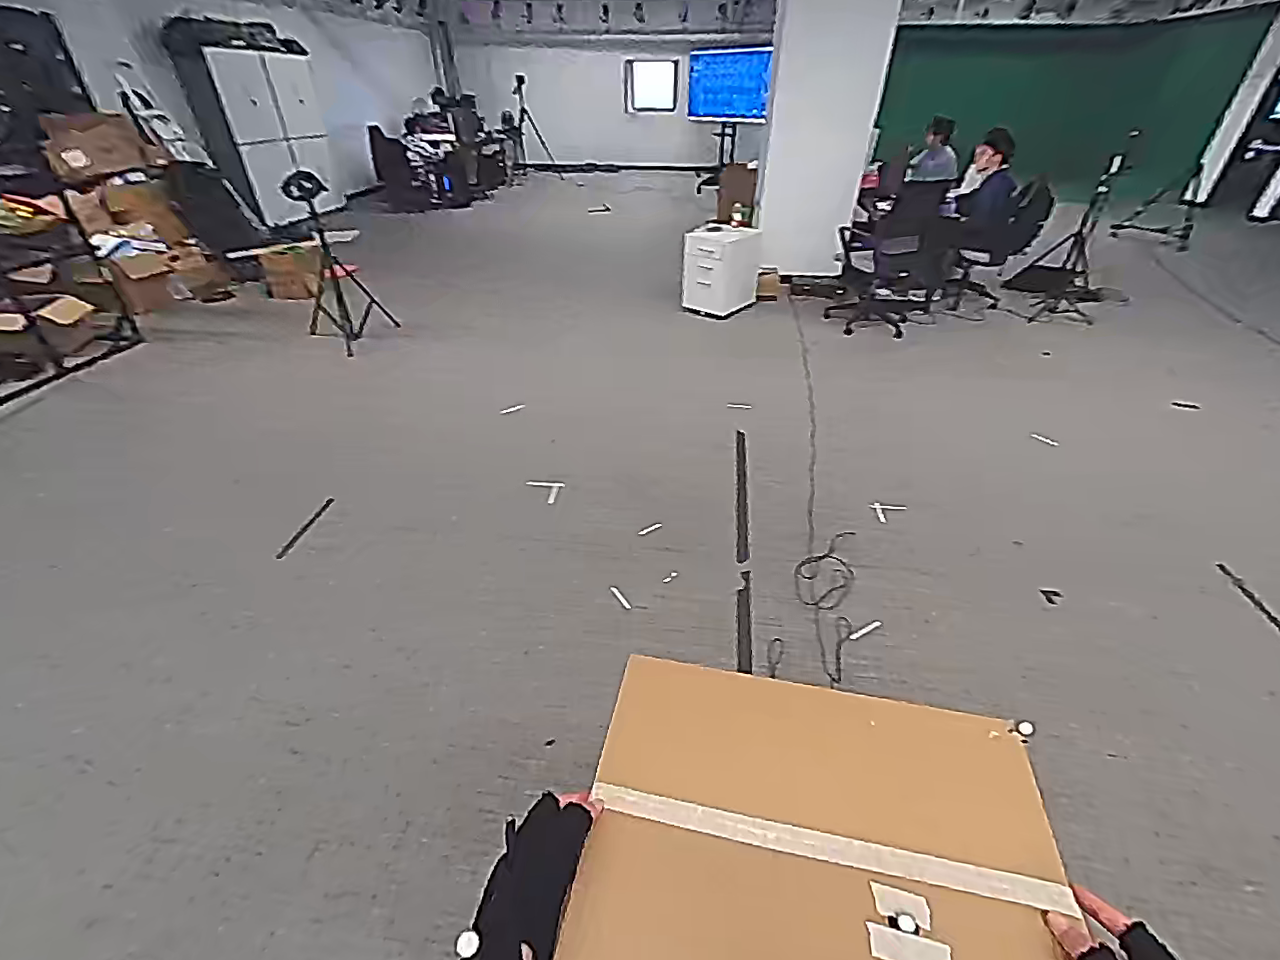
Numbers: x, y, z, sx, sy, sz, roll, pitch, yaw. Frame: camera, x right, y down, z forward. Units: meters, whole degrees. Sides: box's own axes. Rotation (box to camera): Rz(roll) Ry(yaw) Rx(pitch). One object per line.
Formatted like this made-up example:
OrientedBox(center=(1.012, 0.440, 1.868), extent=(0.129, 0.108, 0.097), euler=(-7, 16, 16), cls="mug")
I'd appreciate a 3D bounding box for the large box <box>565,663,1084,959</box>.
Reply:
OrientedBox(center=(0.163, 0.445, 0.577), extent=(0.408, 0.320, 0.320), euler=(7, 39, 12), cls="large box")
